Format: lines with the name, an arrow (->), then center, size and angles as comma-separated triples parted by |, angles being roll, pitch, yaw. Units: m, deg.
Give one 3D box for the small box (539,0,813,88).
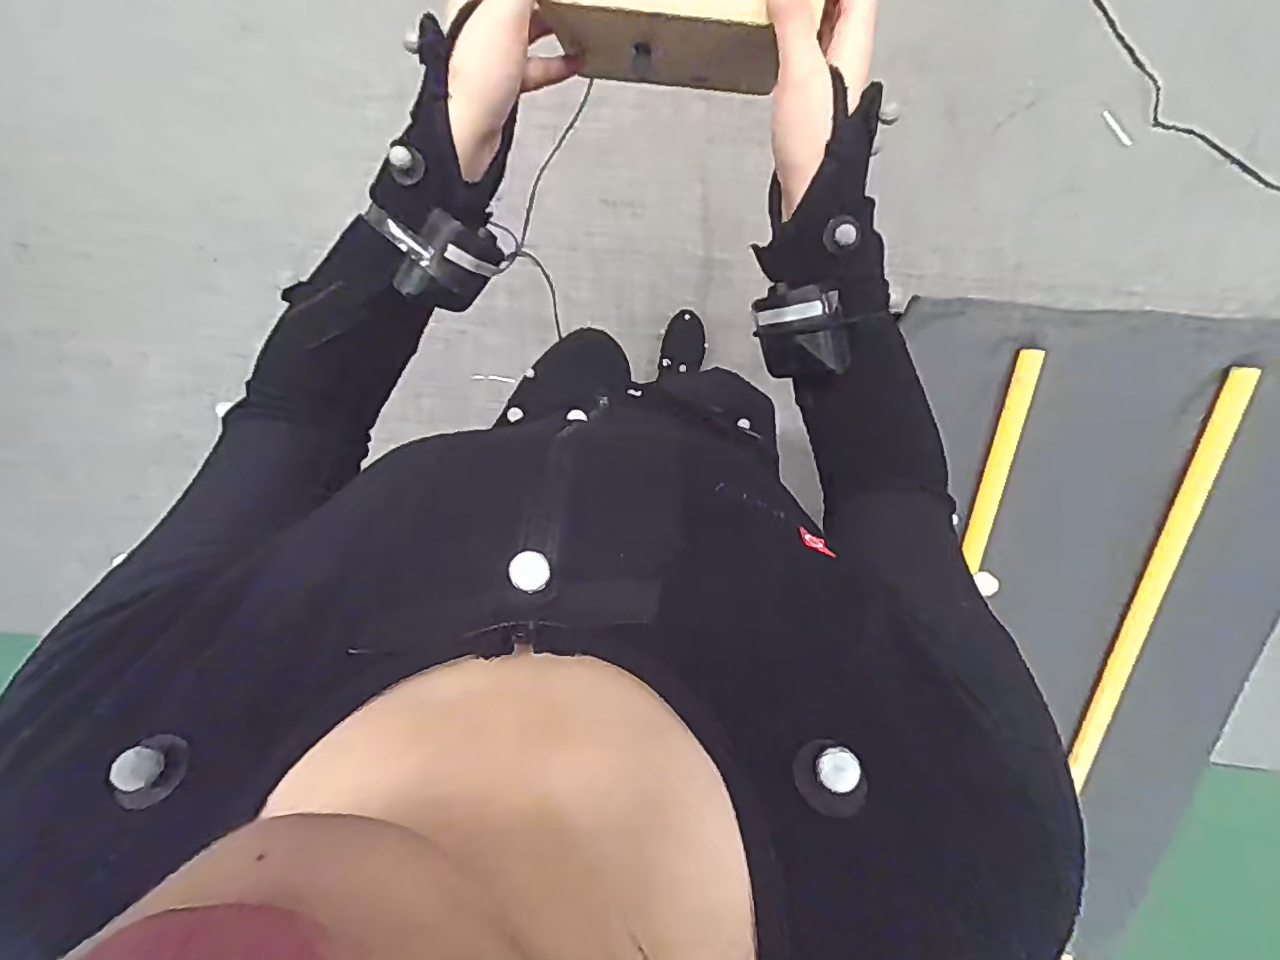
small box -> 0.032, -0.383, 0.352 | 0.168, 0.176, 0.179 | 6, 112, 1
